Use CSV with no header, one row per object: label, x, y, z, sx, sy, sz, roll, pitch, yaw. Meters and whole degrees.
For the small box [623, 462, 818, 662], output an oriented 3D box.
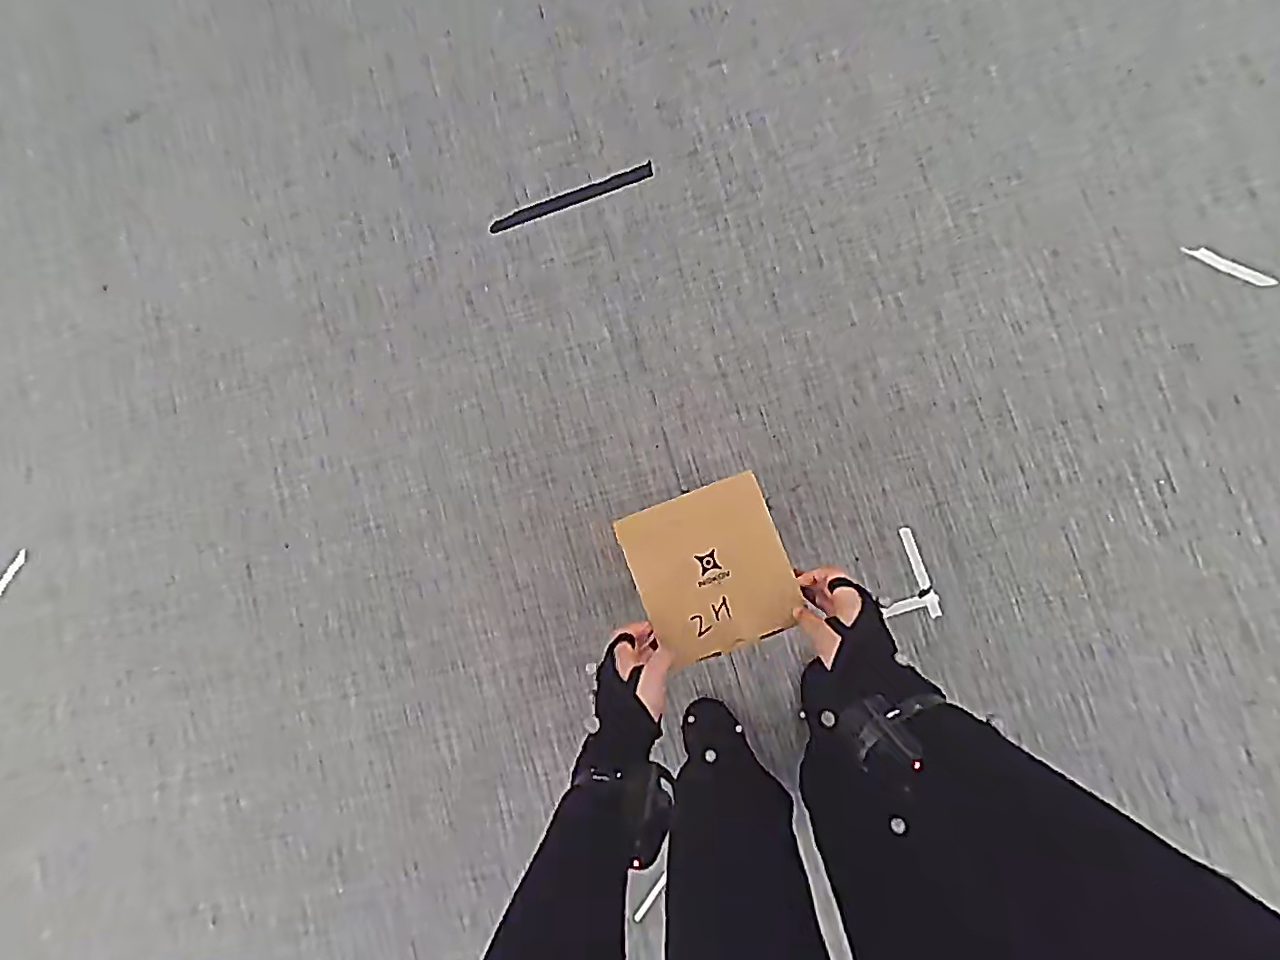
small box,0.091,0.093,0.661,0.168,0.176,0.179,-21,86,5
